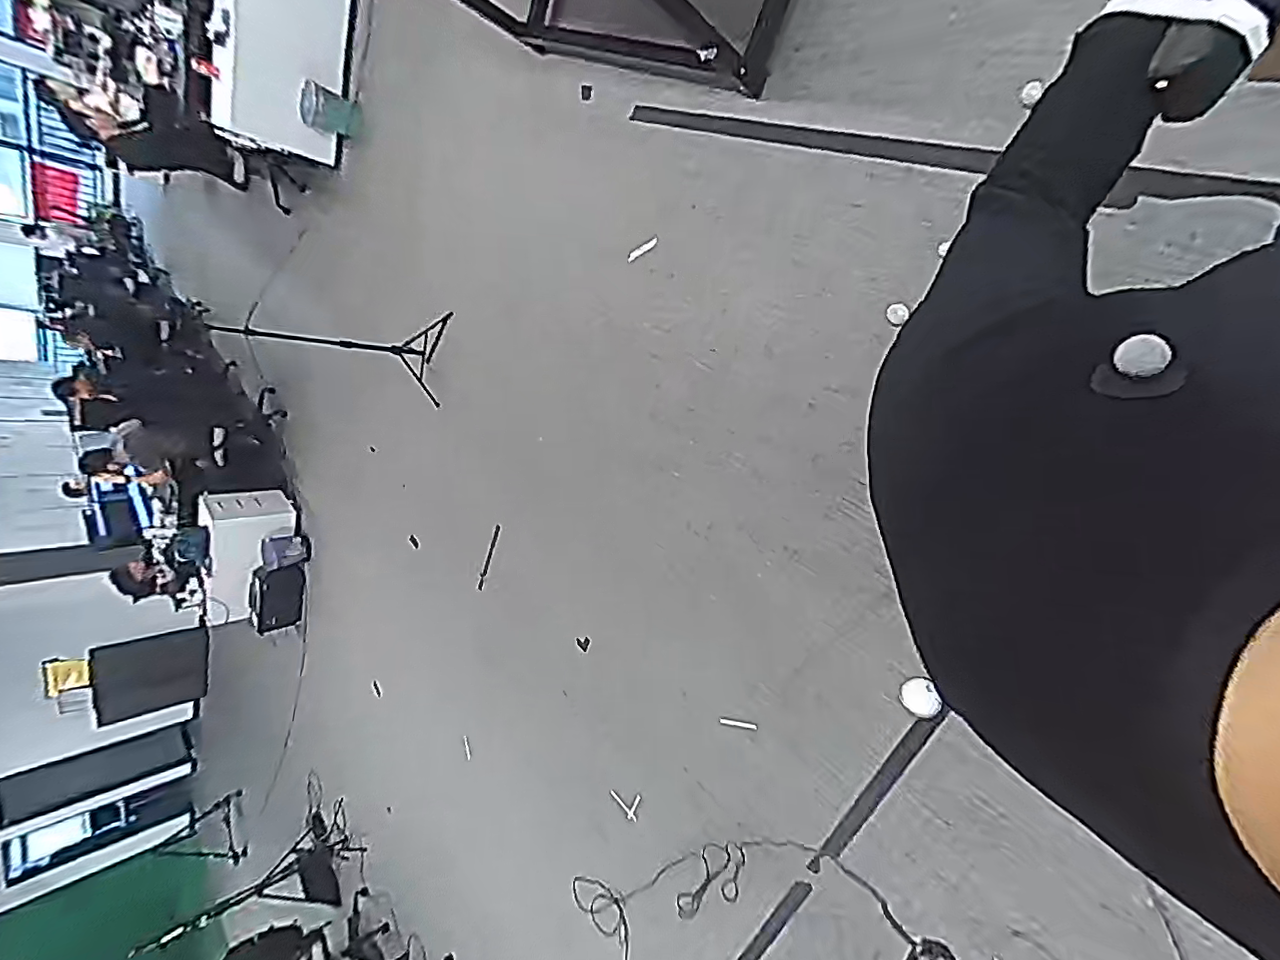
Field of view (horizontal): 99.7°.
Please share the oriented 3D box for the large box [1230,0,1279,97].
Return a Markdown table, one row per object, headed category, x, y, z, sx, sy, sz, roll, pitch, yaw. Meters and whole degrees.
| category | x | y | z | sx | sy | sz | roll | pitch | yaw |
| --- | --- | --- | --- | --- | --- | --- | --- | --- | --- |
| large box | 0.633 | -0.383 | 0.241 | 0.408 | 0.320 | 0.320 | 32 | 125 | 32 |
